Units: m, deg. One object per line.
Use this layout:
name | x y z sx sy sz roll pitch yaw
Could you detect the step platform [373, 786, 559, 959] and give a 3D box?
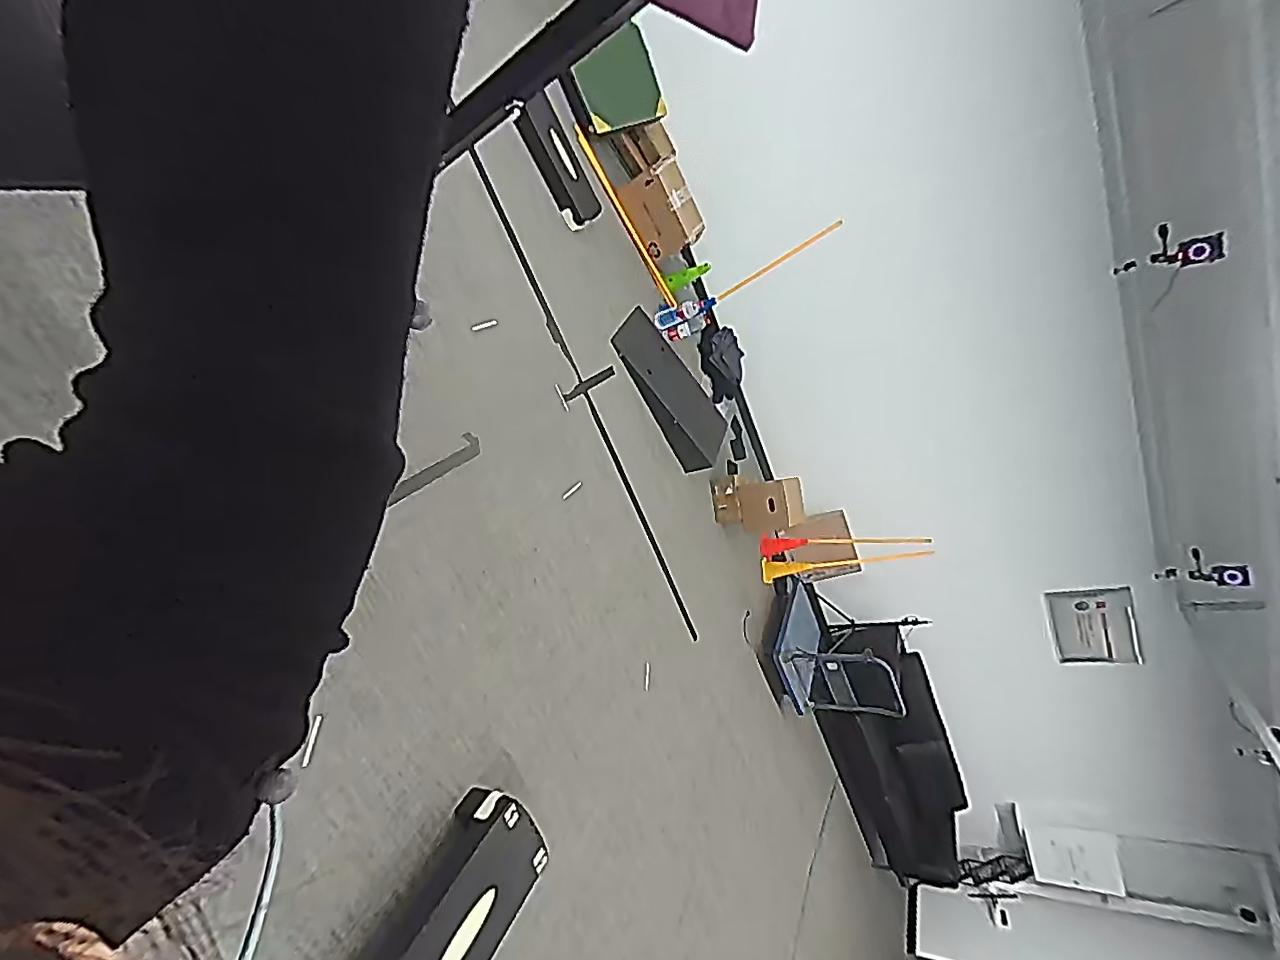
step platform | -0.514 1.224 1.511 0.684 0.204 0.286 -38 110 -56
